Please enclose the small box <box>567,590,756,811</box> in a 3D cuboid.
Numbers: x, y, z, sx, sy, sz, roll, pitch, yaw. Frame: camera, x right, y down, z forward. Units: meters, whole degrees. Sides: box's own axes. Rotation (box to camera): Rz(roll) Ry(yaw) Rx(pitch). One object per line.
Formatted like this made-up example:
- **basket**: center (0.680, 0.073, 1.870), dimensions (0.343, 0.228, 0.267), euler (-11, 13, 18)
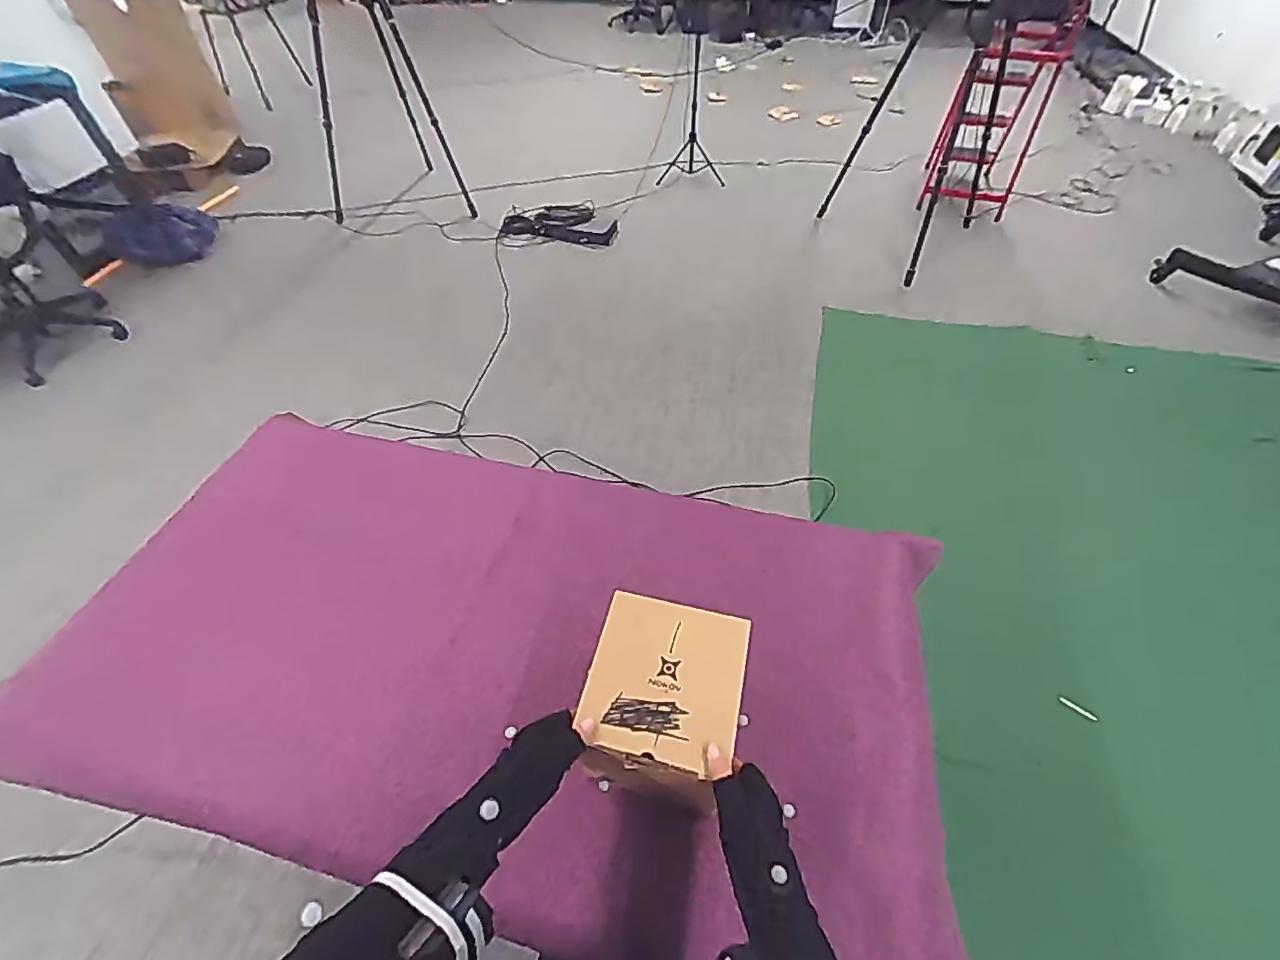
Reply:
- **small box**: center (0.029, 0.264, 0.639), dimensions (0.168, 0.176, 0.179), euler (15, 52, 10)
